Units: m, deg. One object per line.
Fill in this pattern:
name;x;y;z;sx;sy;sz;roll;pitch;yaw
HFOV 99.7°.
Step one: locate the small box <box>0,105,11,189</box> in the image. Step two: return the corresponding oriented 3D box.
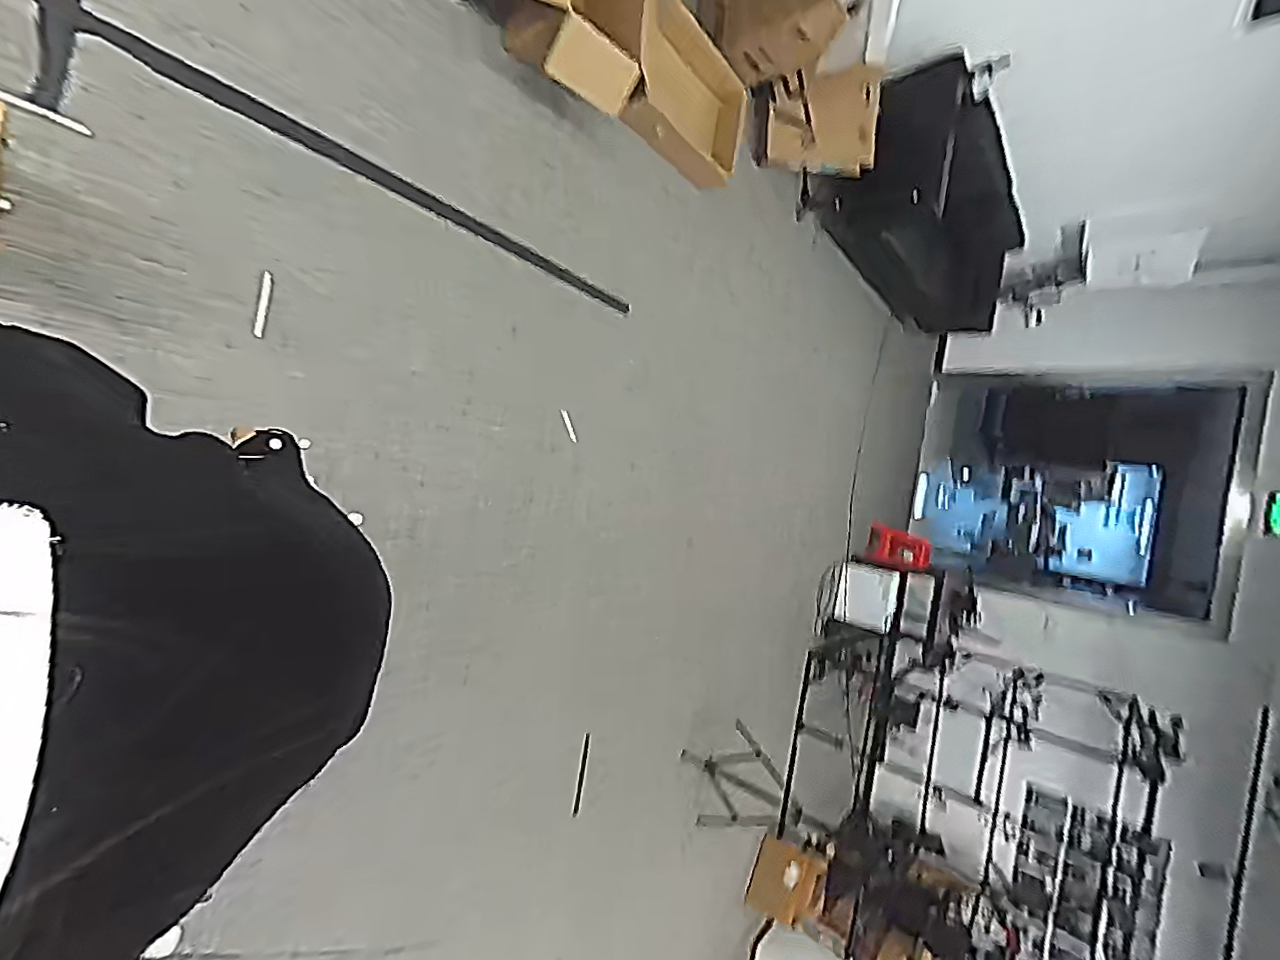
small box;-1.000;-0.450;0.734;0.168;0.176;0.179;11;89;-50
